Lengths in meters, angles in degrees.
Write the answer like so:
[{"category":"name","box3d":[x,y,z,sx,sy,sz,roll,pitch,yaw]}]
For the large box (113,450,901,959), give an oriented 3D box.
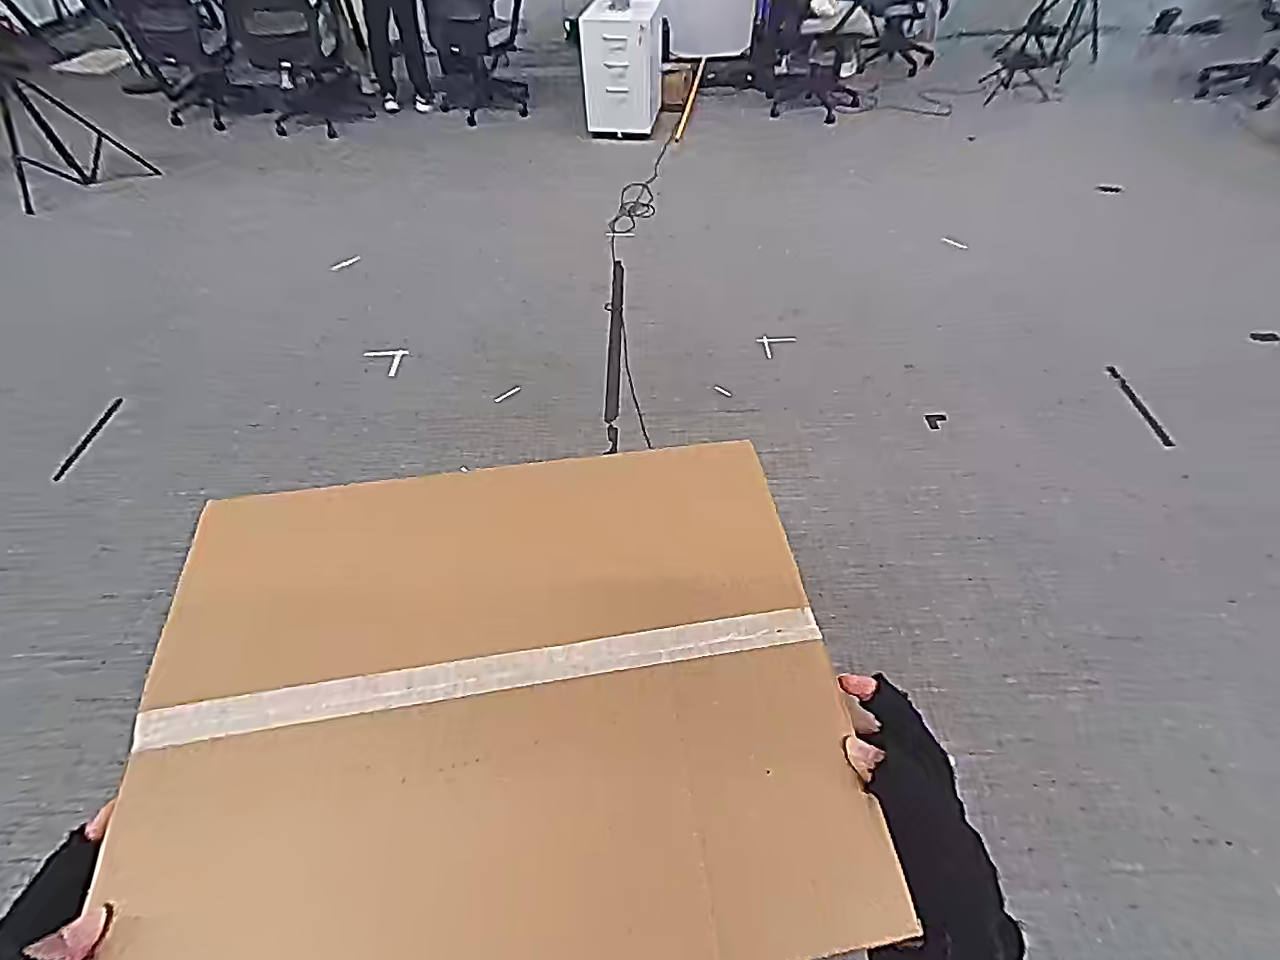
[{"category":"large box","box3d":[-0.084,0.207,0.467,0.408,0.320,0.320,-7,58,-6]}]
